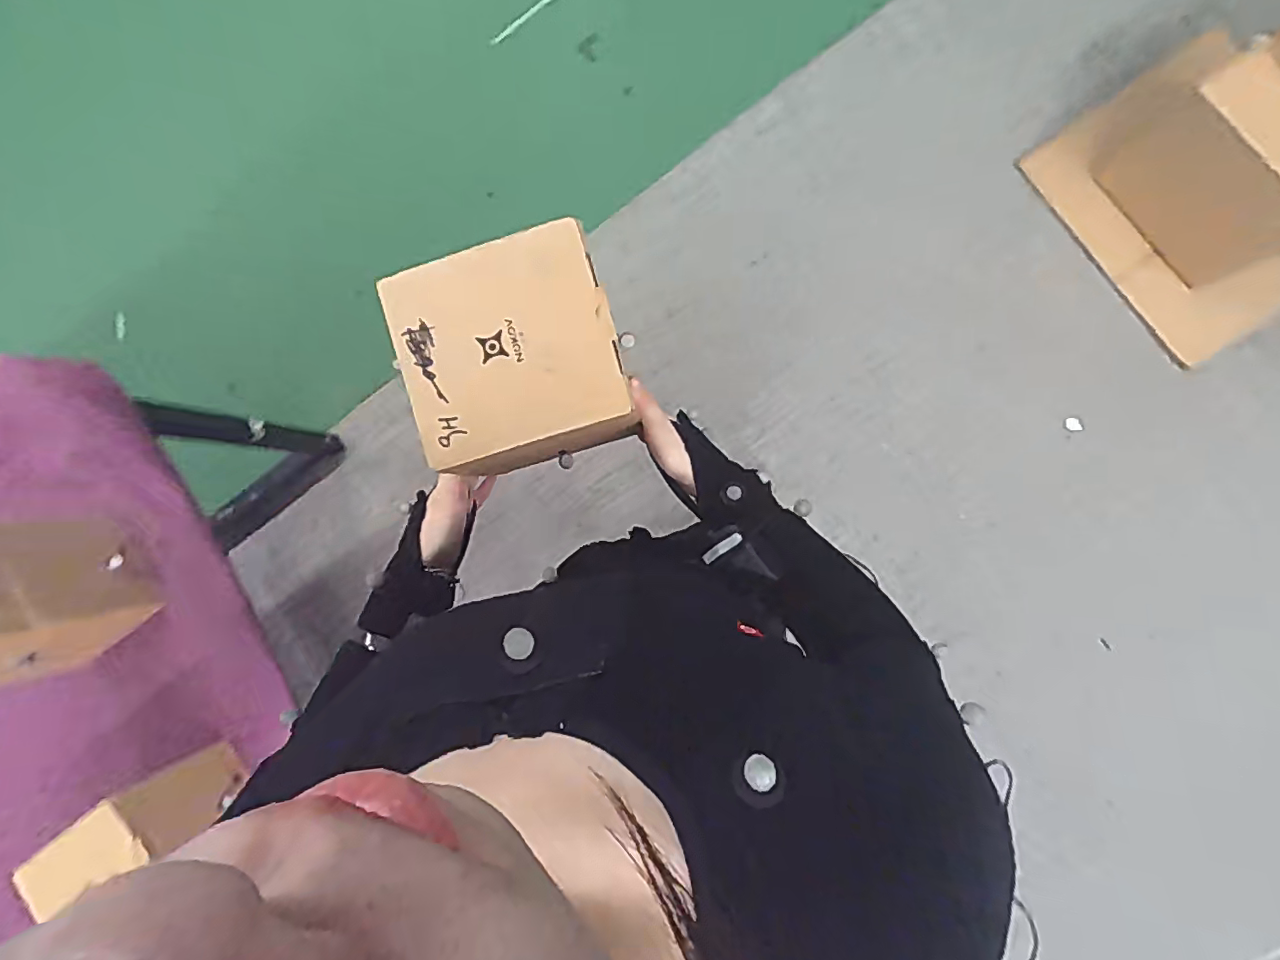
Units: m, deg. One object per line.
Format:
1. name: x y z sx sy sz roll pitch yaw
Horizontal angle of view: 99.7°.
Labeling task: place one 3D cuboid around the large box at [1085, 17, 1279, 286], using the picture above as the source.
1. large box: 1.392 -0.747 1.257 0.320 0.320 0.408 -37 86 3

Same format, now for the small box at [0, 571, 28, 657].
1. small box: -0.885 0.173 0.612 0.179 0.176 0.168 -37 85 3

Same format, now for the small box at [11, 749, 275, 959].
1. small box: -0.658 0.513 0.737 0.179 0.176 0.168 -38 85 4

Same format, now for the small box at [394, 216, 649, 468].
1. small box: -0.095 -0.112 0.512 0.179 0.176 0.168 -15 88 1

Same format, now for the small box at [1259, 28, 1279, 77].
1. small box: 1.369 -0.878 1.021 0.179 0.176 0.168 -39 84 2

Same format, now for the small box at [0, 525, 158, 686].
1. small box: -0.865 0.178 0.774 0.179 0.176 0.168 -36 85 2
